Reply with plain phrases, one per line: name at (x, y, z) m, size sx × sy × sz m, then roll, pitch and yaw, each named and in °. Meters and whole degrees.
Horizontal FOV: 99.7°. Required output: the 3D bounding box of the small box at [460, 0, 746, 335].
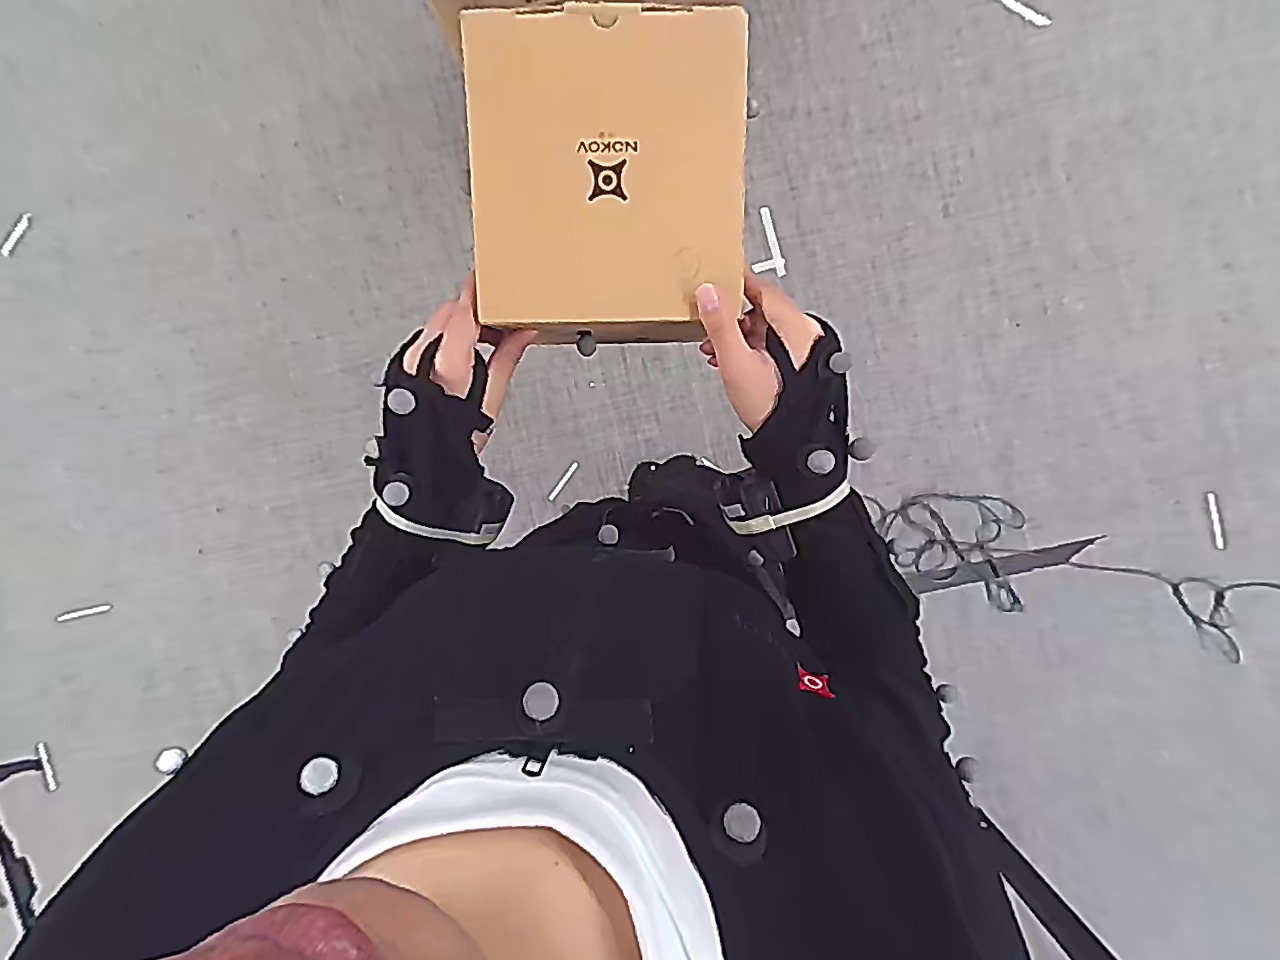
small box at (-0.019, -0.202, 0.397) m, size 0.168 × 0.176 × 0.179 m, roll -1°, pitch 98°, yaw 0°
